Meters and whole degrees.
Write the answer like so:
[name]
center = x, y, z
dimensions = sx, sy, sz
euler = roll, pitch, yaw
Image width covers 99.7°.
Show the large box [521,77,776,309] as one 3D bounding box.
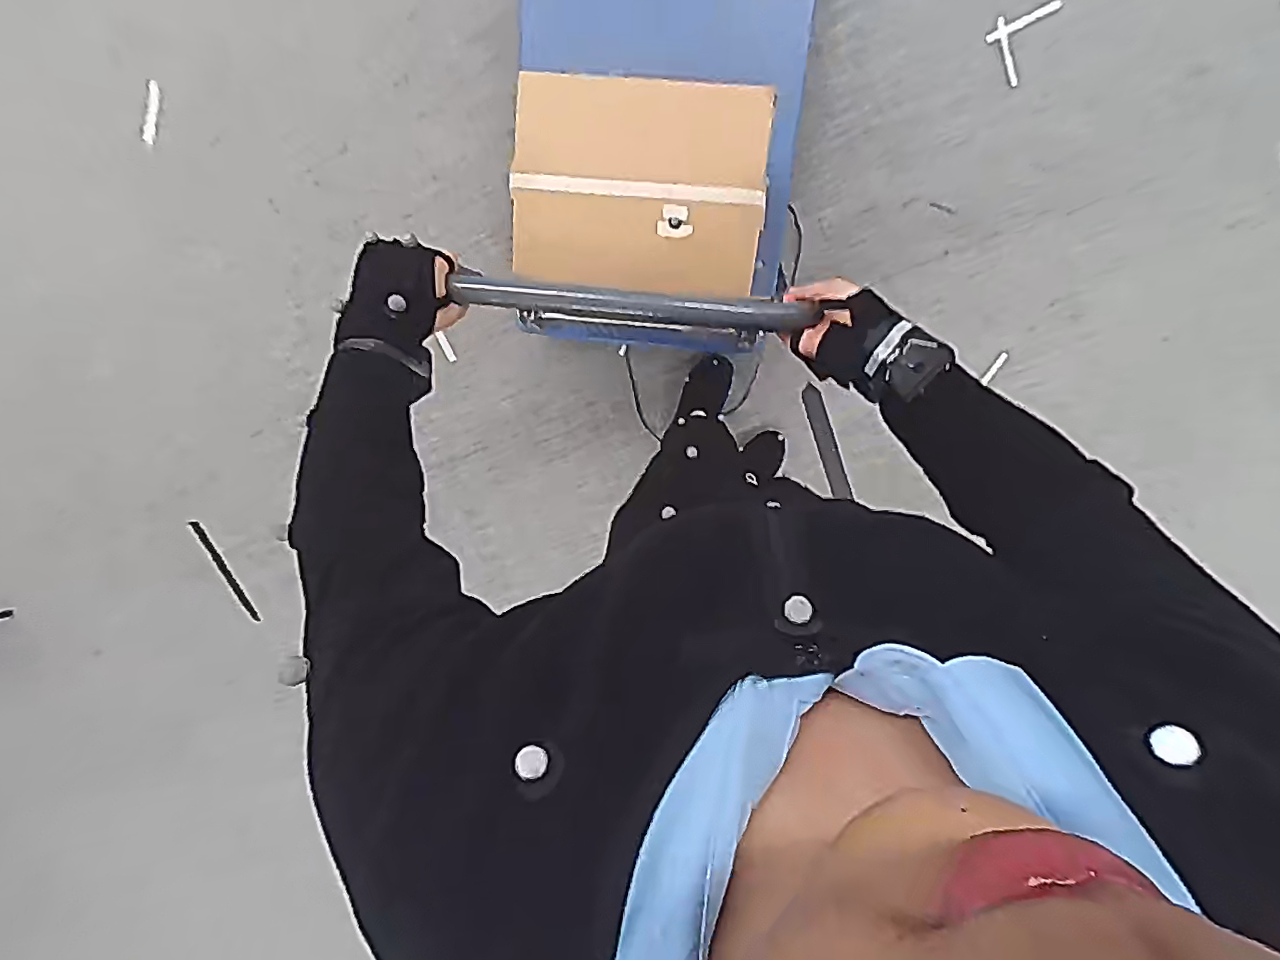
[large box]
center = 0.011, -0.505, 1.022
dimensions = 0.408, 0.320, 0.320
euler = 5, 105, 2
